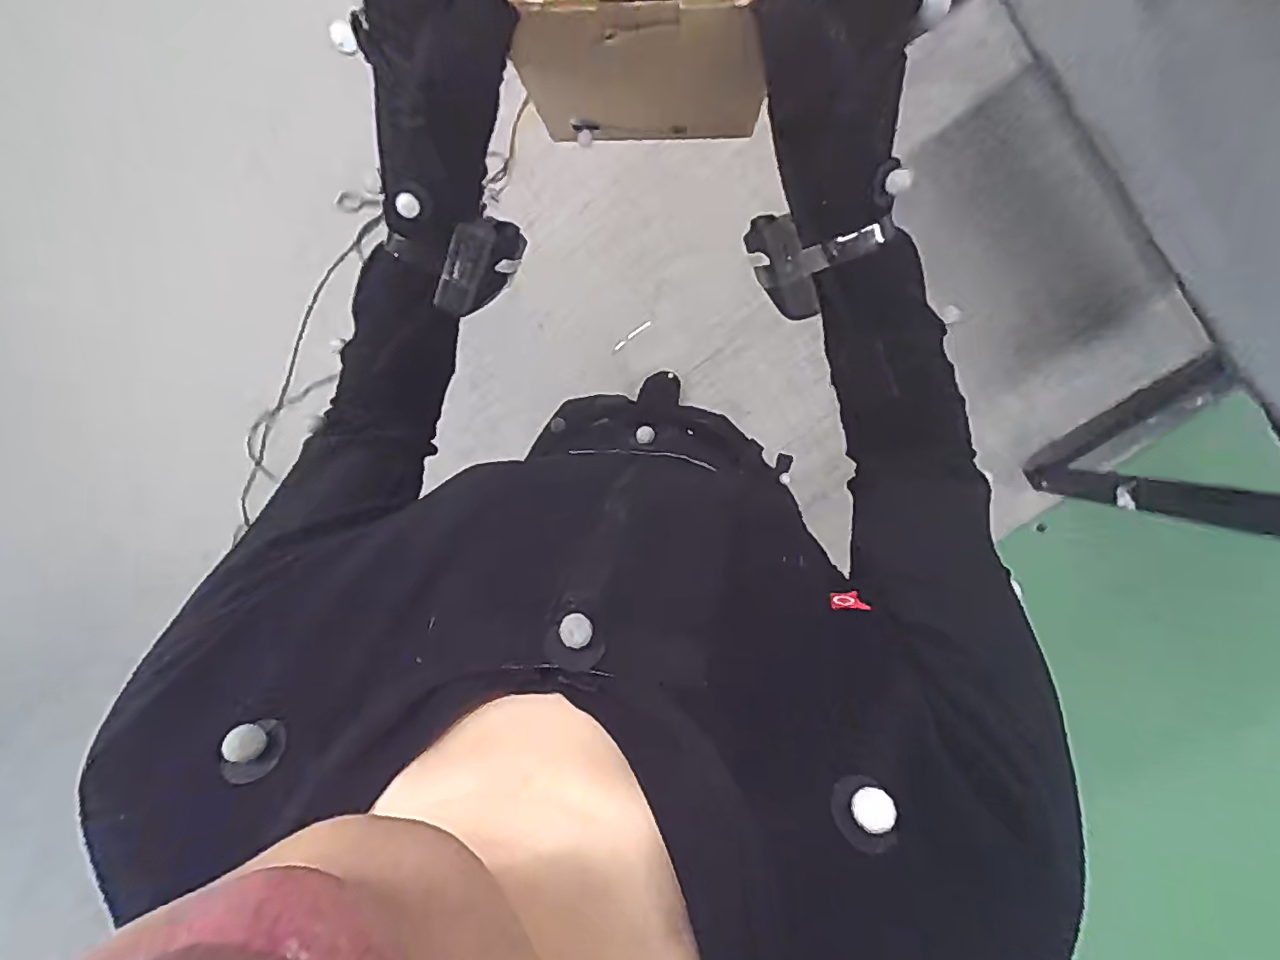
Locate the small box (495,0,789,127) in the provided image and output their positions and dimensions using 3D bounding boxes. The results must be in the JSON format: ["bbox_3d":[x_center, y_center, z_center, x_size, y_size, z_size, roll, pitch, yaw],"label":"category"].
[{"bbox_3d":[0.009,-0.352,0.344,0.168,0.176,0.179,1,100,3],"label":"small box"}]
